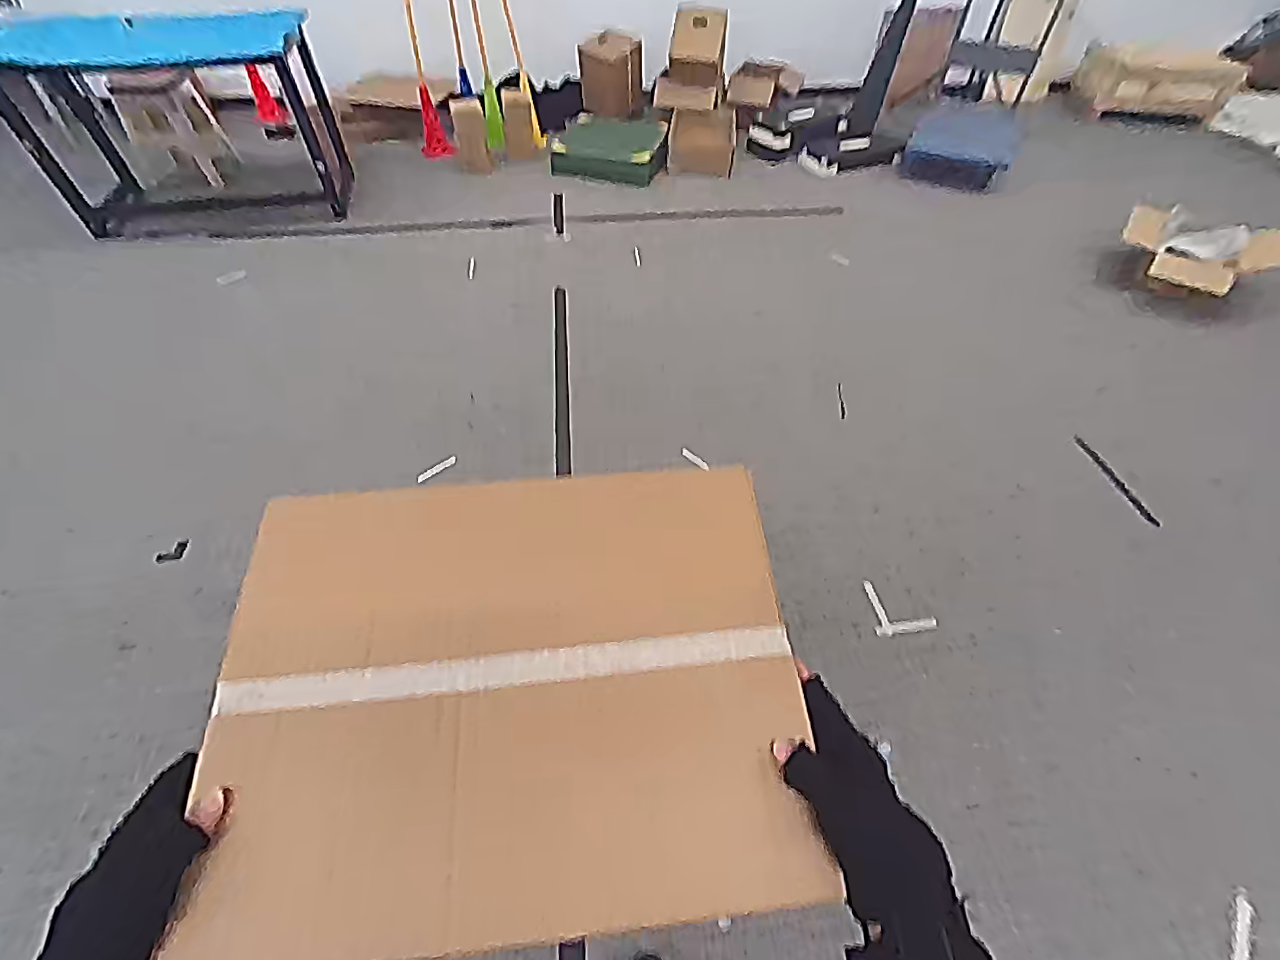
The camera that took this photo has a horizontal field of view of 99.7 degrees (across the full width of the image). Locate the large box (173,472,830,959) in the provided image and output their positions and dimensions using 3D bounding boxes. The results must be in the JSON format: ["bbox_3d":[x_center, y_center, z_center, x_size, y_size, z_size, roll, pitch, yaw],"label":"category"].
[{"bbox_3d":[-0.095,0.213,0.526,0.408,0.320,0.320,-4,61,-5],"label":"large box"}]
